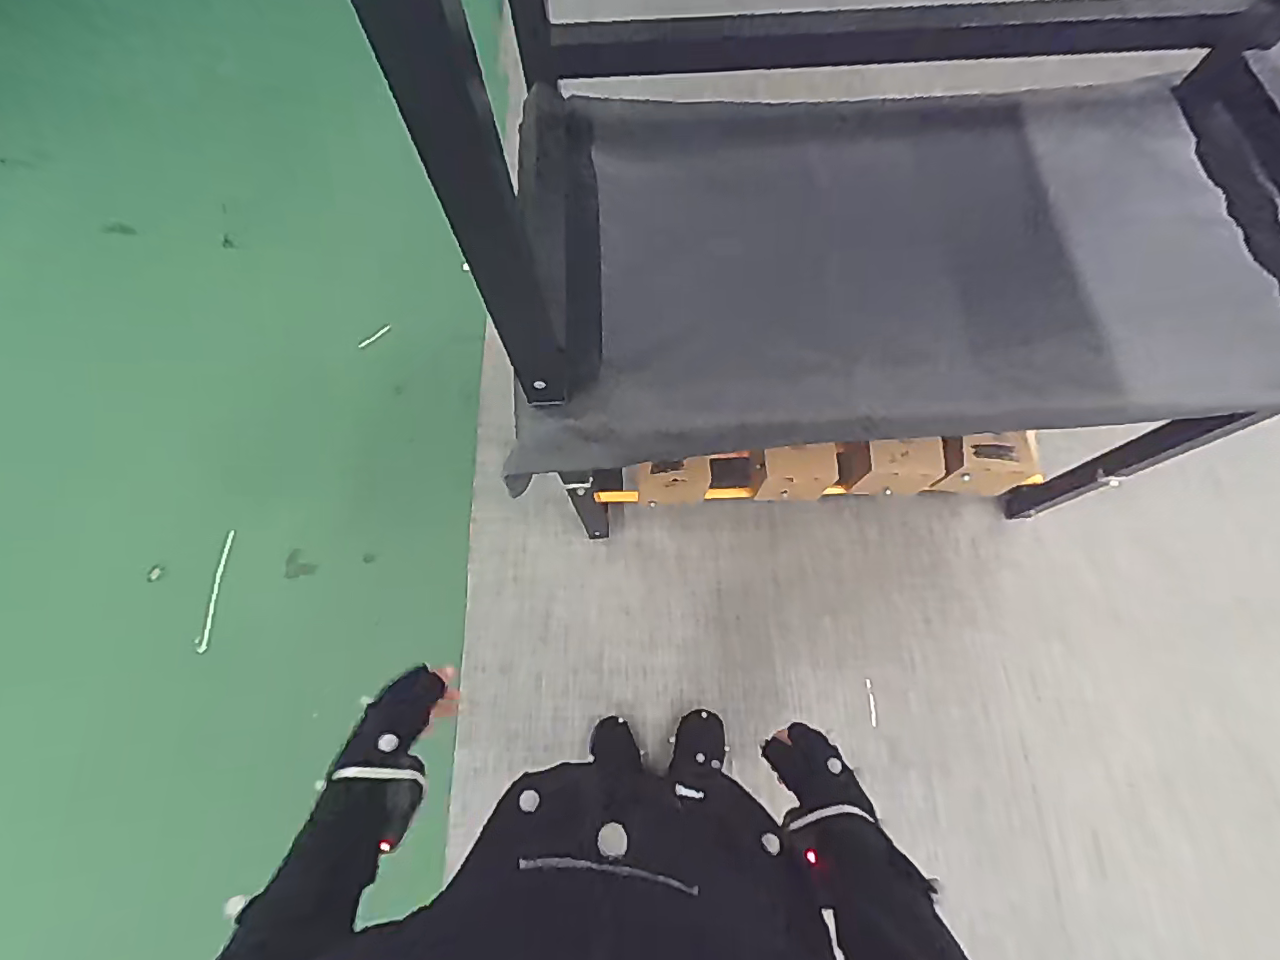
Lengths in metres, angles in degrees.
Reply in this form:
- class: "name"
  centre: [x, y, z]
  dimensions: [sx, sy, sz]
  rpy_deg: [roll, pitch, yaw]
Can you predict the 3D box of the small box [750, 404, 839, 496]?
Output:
- class: "small box"
  centre: [0.365, -0.069, 1.310]
  dimensions: [0.168, 0.176, 0.179]
  rpy_deg: [-1, 72, 1]
